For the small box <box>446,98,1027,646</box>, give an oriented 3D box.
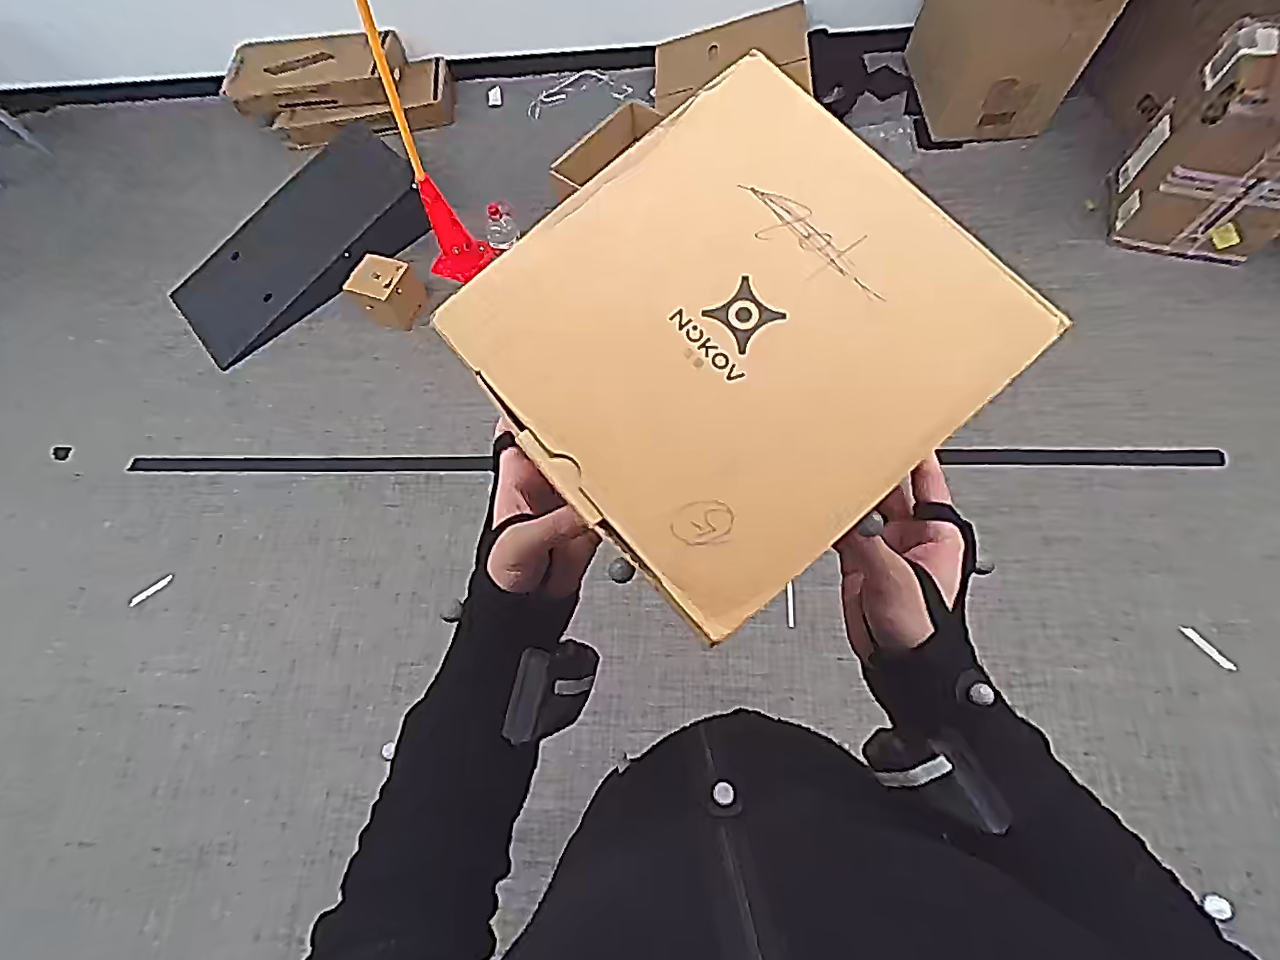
[{"bbox_3d":[0.039,-0.038,0.294,0.179,0.176,0.168,-41,81,-5],"label":"small box"}]
